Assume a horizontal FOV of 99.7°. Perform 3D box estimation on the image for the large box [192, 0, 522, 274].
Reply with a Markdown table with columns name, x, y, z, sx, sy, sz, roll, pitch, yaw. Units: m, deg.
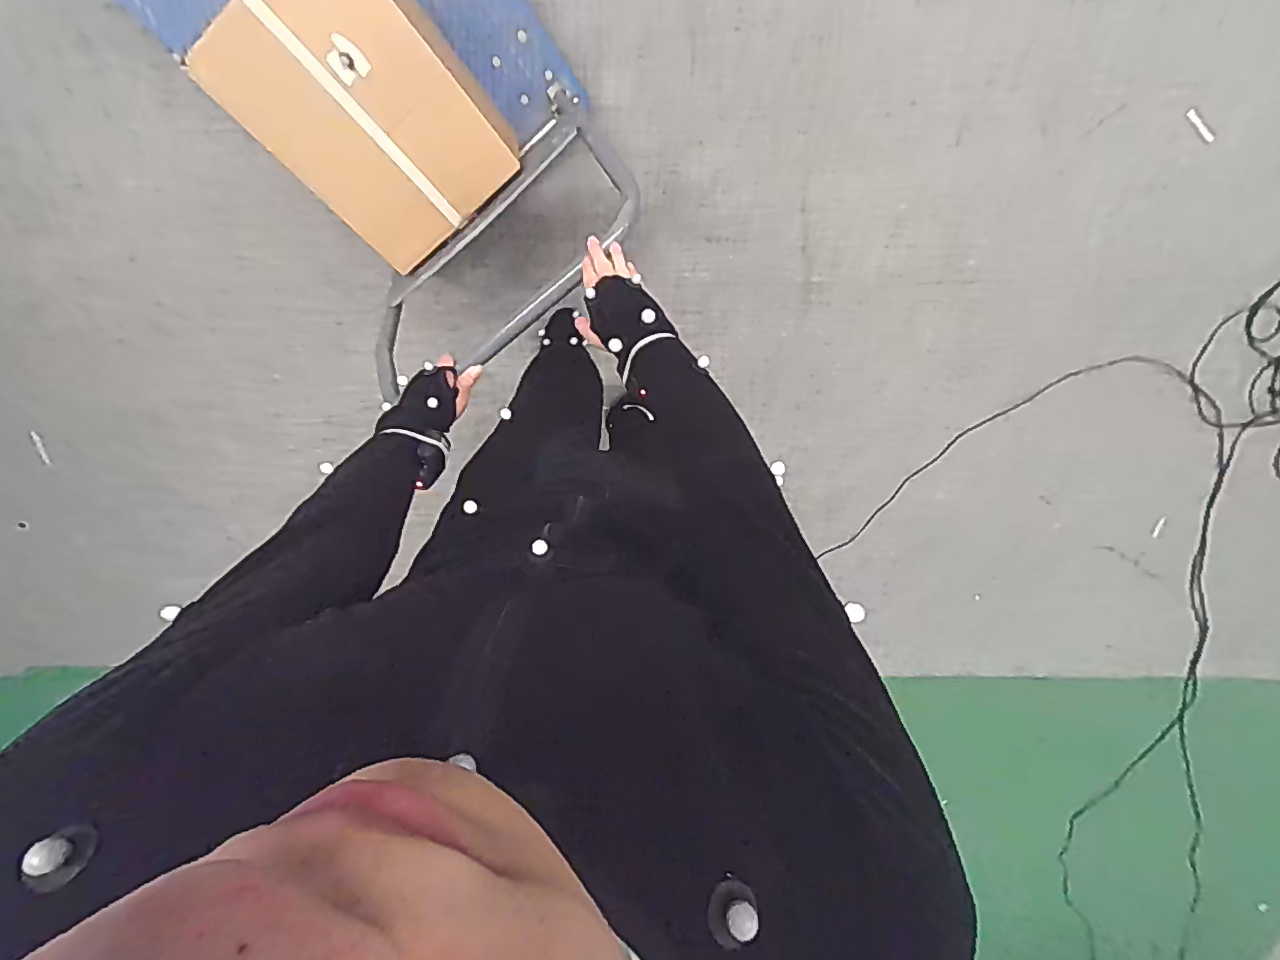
| name | x | y | z | sx | sy | sz | roll | pitch | yaw |
| --- | --- | --- | --- | --- | --- | --- | --- | --- | --- |
| large box | -0.469 | -0.680 | 1.006 | 0.320 | 0.320 | 0.408 | -35 | 128 | 15 |
